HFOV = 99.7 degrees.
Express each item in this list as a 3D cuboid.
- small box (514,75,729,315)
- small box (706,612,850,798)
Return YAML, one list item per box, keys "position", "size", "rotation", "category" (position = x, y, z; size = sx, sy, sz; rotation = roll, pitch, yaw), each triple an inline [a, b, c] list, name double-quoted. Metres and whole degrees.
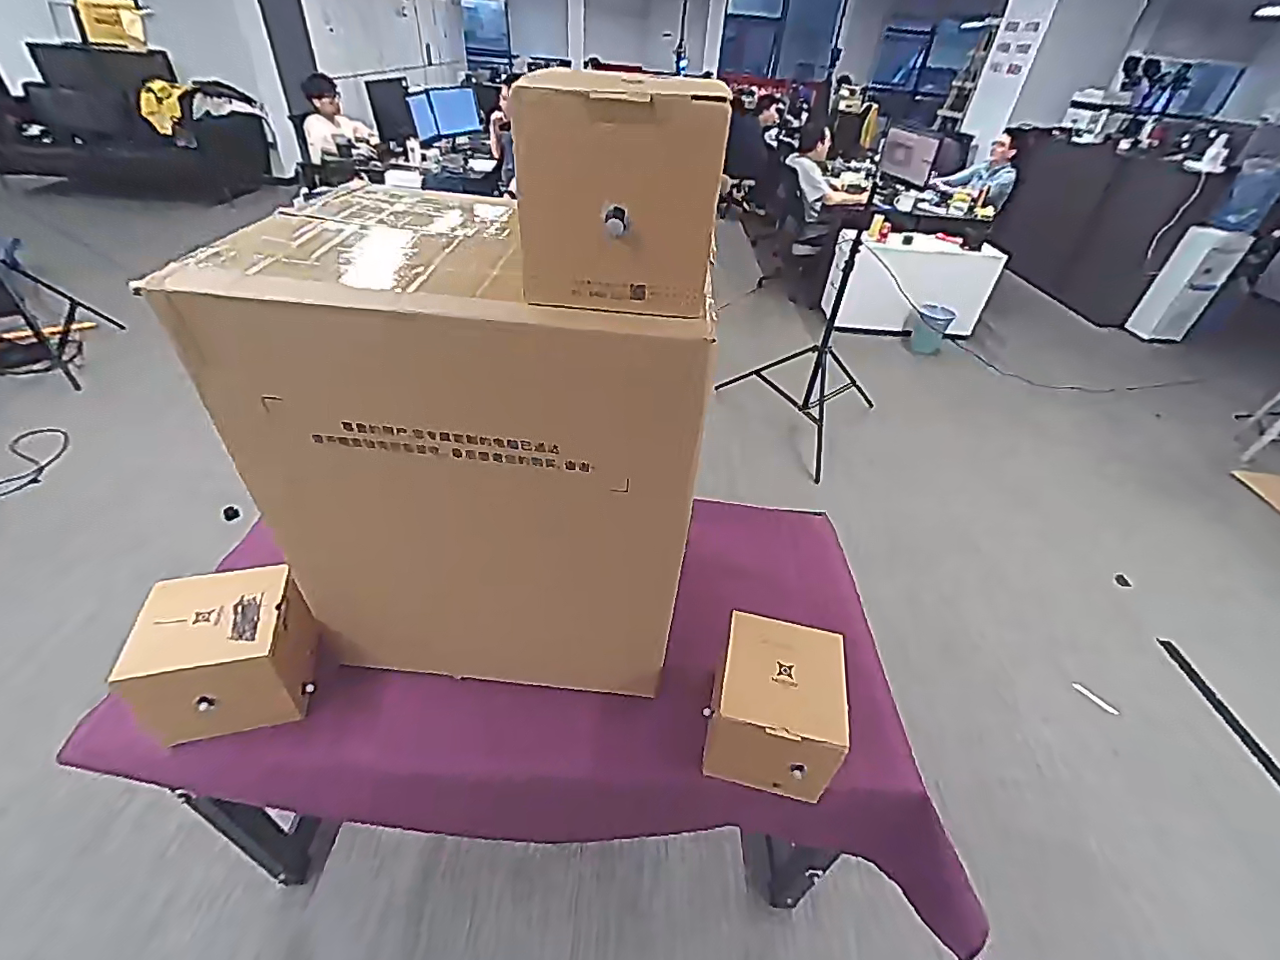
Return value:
- position: [-0.011, -0.271, 0.515]
  size: [0.168, 0.176, 0.179]
  rotation: [5, 40, 1]
  category: "small box"
- position: [0.195, 0.329, 0.792]
  size: [0.168, 0.176, 0.179]
  rotation: [12, 37, 7]
  category: "small box"
